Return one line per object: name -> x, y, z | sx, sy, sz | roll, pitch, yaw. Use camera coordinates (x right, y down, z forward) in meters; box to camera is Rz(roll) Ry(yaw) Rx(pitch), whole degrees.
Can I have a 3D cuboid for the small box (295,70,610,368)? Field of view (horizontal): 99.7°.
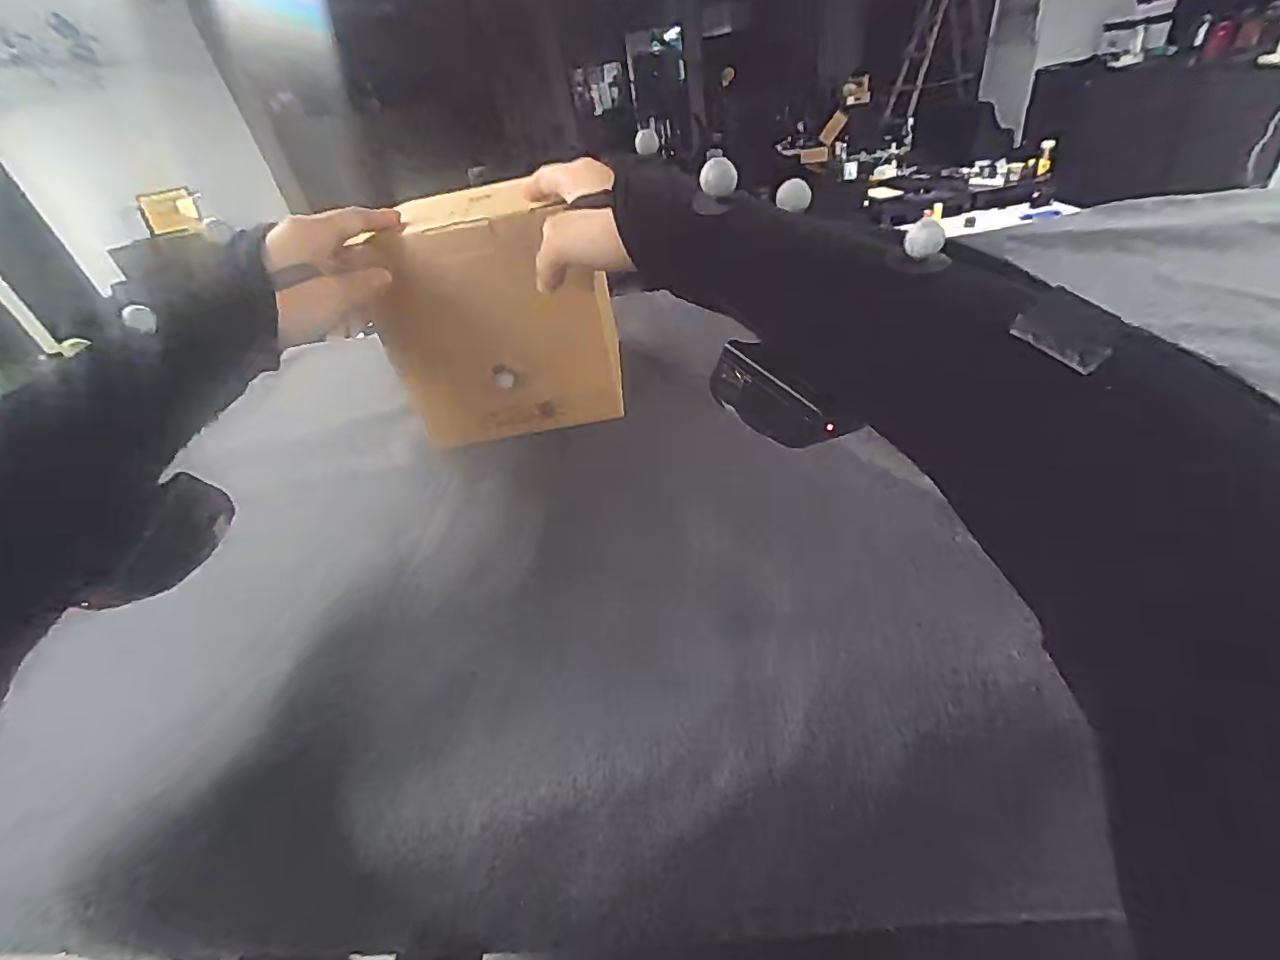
small box -> -0.120, -0.209, 0.433 | 0.168, 0.176, 0.179 | -9, 37, 3
